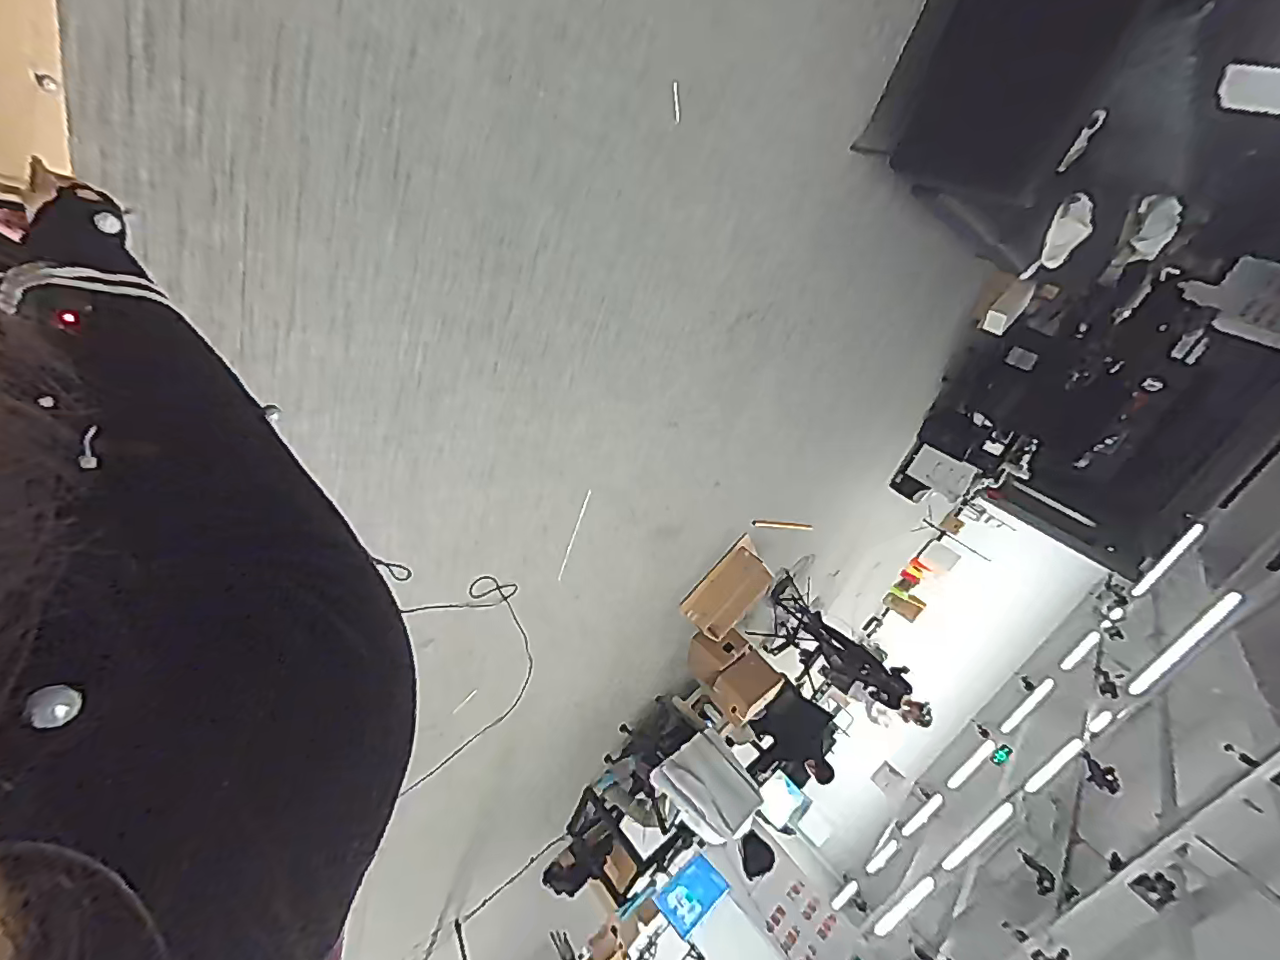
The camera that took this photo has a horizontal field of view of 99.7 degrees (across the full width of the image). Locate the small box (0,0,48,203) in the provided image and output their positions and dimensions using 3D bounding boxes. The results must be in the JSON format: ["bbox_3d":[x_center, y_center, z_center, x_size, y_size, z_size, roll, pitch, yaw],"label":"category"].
[{"bbox_3d":[-0.534,-0.310,0.371,0.168,0.176,0.179,1,105,-50],"label":"small box"}]
